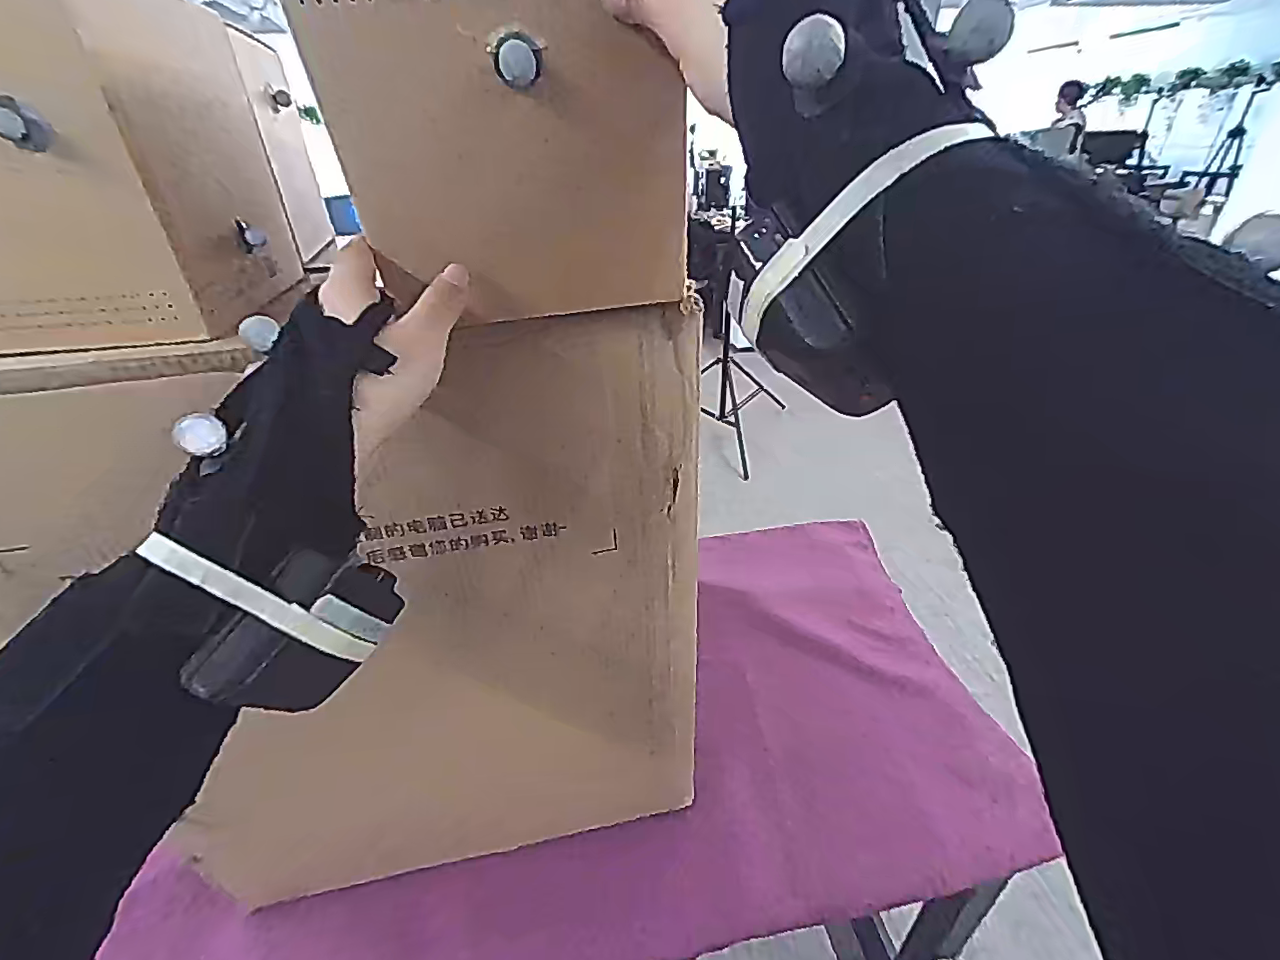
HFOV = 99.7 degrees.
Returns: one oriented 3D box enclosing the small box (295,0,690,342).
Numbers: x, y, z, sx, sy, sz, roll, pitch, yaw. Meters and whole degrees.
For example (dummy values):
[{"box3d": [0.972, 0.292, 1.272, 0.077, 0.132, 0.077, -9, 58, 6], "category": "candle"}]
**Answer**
[{"box3d": [-0.067, -0.204, 0.318, 0.168, 0.176, 0.179, -8, 41, -5], "category": "small box"}]
